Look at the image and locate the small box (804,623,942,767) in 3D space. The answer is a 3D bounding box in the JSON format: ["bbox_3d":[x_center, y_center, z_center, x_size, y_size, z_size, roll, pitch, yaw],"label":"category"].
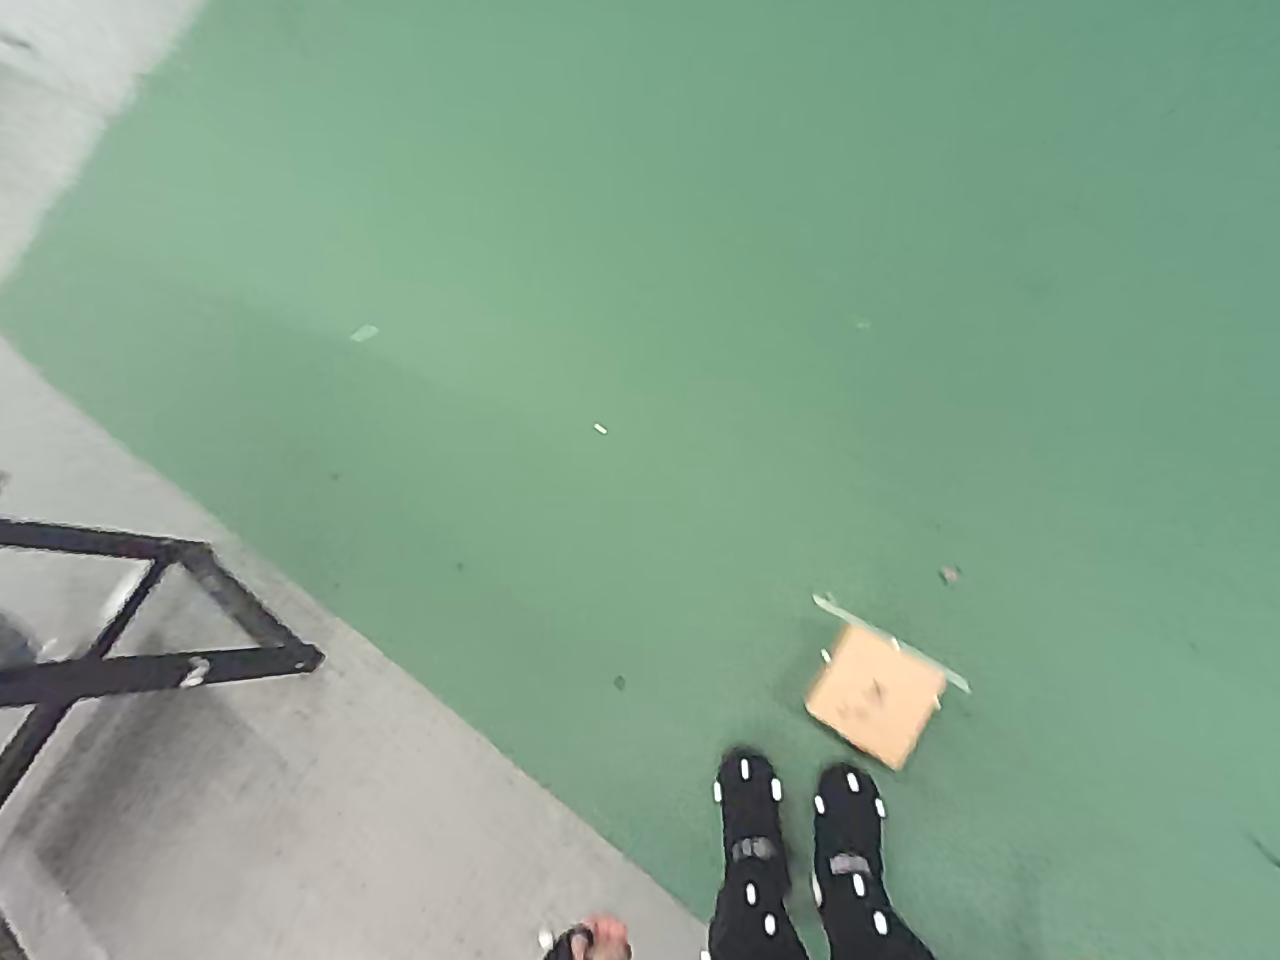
[{"bbox_3d":[0.416,0.384,1.001,0.168,0.176,0.179,31,85,19],"label":"small box"}]
